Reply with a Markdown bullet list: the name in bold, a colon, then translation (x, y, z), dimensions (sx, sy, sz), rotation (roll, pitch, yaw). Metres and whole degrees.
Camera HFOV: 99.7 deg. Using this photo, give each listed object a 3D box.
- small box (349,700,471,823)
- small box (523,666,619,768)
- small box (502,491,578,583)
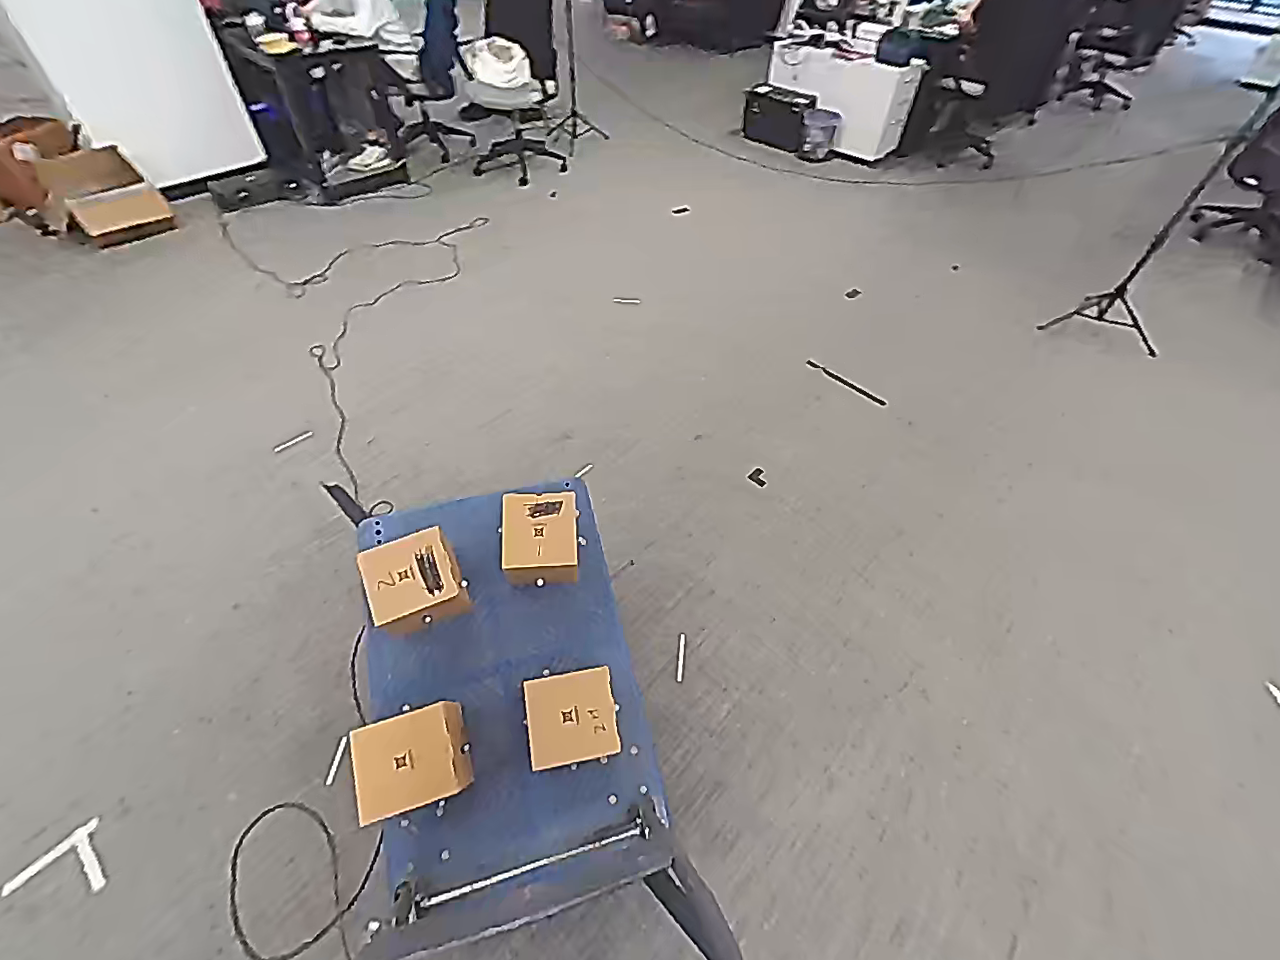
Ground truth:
- **small box**: translation (-0.451, 0.553, 1.077), dimensions (0.179, 0.176, 0.168), rotation (-13, 69, -14)
- **small box**: translation (-0.145, 0.496, 1.140), dimensions (0.179, 0.176, 0.168), rotation (-7, 69, -10)
- **small box**: translation (-0.233, 0.138, 1.282), dimensions (0.168, 0.176, 0.179), rotation (-1, 68, -8)
